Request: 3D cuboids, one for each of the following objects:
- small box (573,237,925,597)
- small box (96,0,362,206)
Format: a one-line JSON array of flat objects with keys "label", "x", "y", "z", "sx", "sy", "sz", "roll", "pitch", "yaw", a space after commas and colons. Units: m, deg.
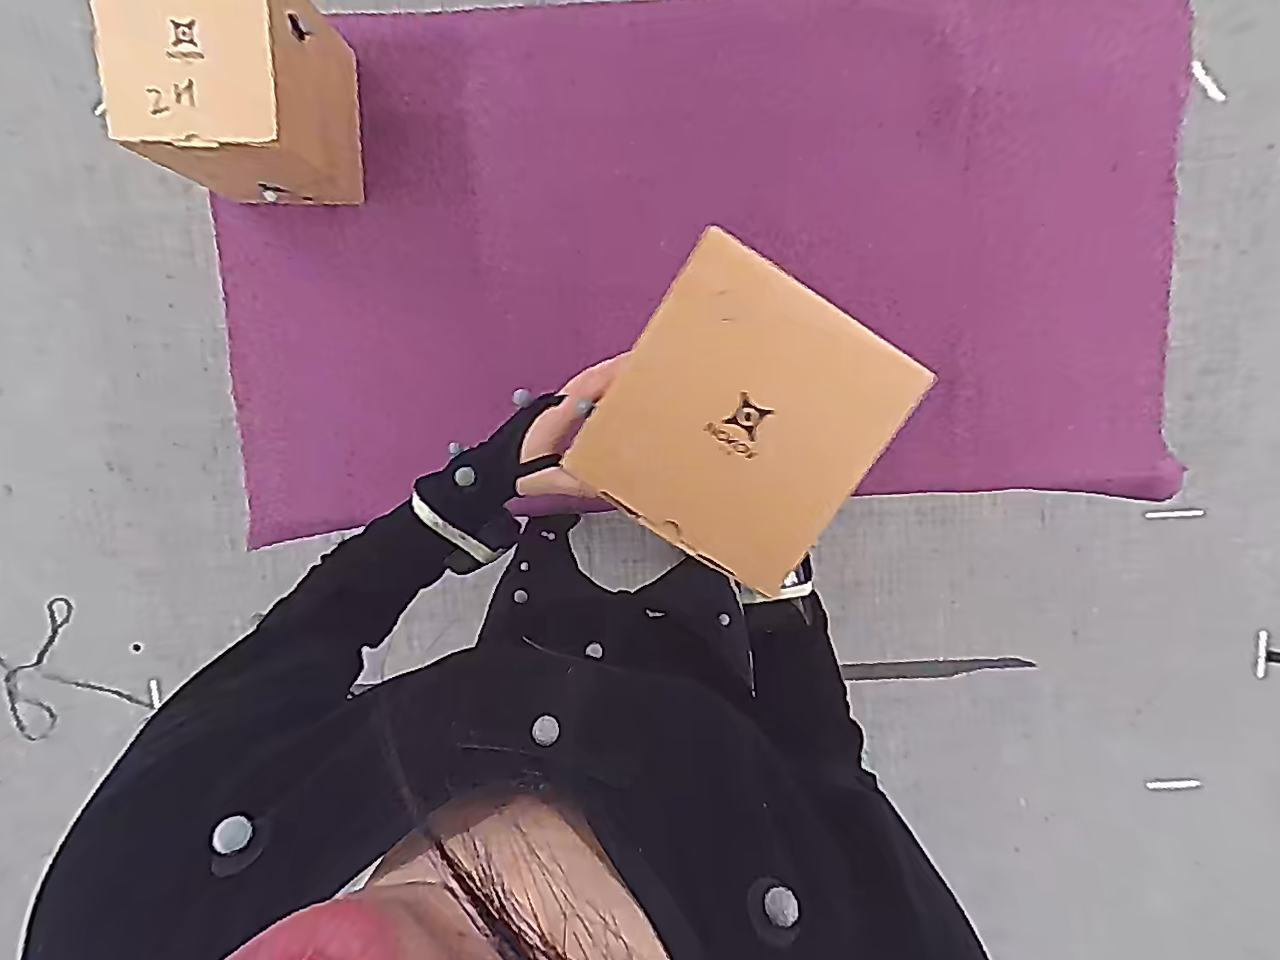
[{"label": "small box", "x": 0.067, "y": -0.048, "z": 0.421, "sx": 0.168, "sy": 0.176, "sz": 0.179, "roll": 31, "pitch": 99, "yaw": -4}, {"label": "small box", "x": -0.427, "y": -0.423, "z": 0.590, "sx": 0.168, "sy": 0.176, "sz": 0.179, "roll": 1, "pitch": 99, "yaw": 0}]
